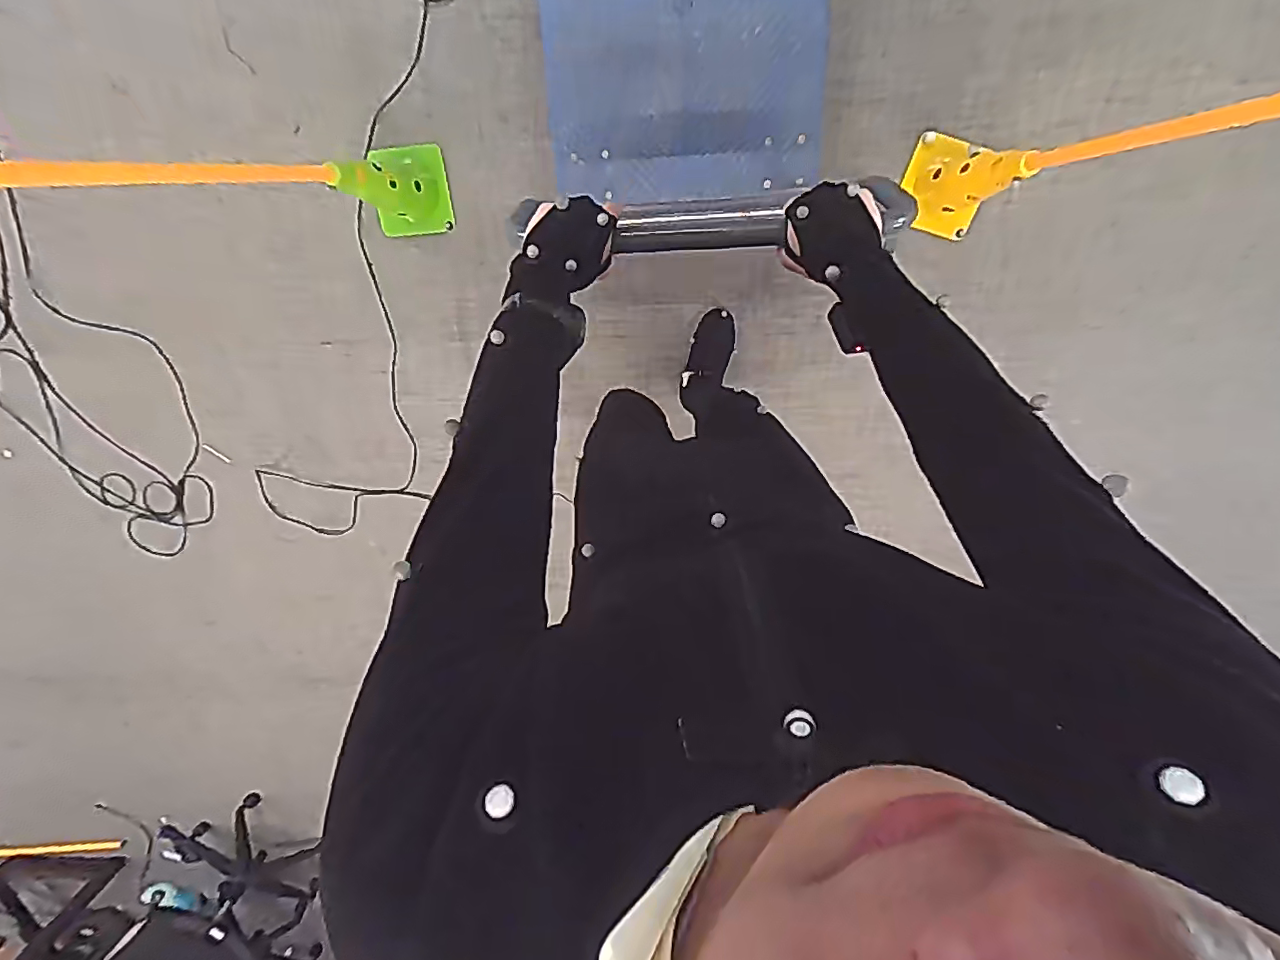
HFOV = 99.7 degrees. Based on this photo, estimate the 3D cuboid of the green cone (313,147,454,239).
[{"bbox_3d":[-0.605,-0.669,1.229,0.202,0.368,0.200,-3,112,7],"label":"green cone"}]
